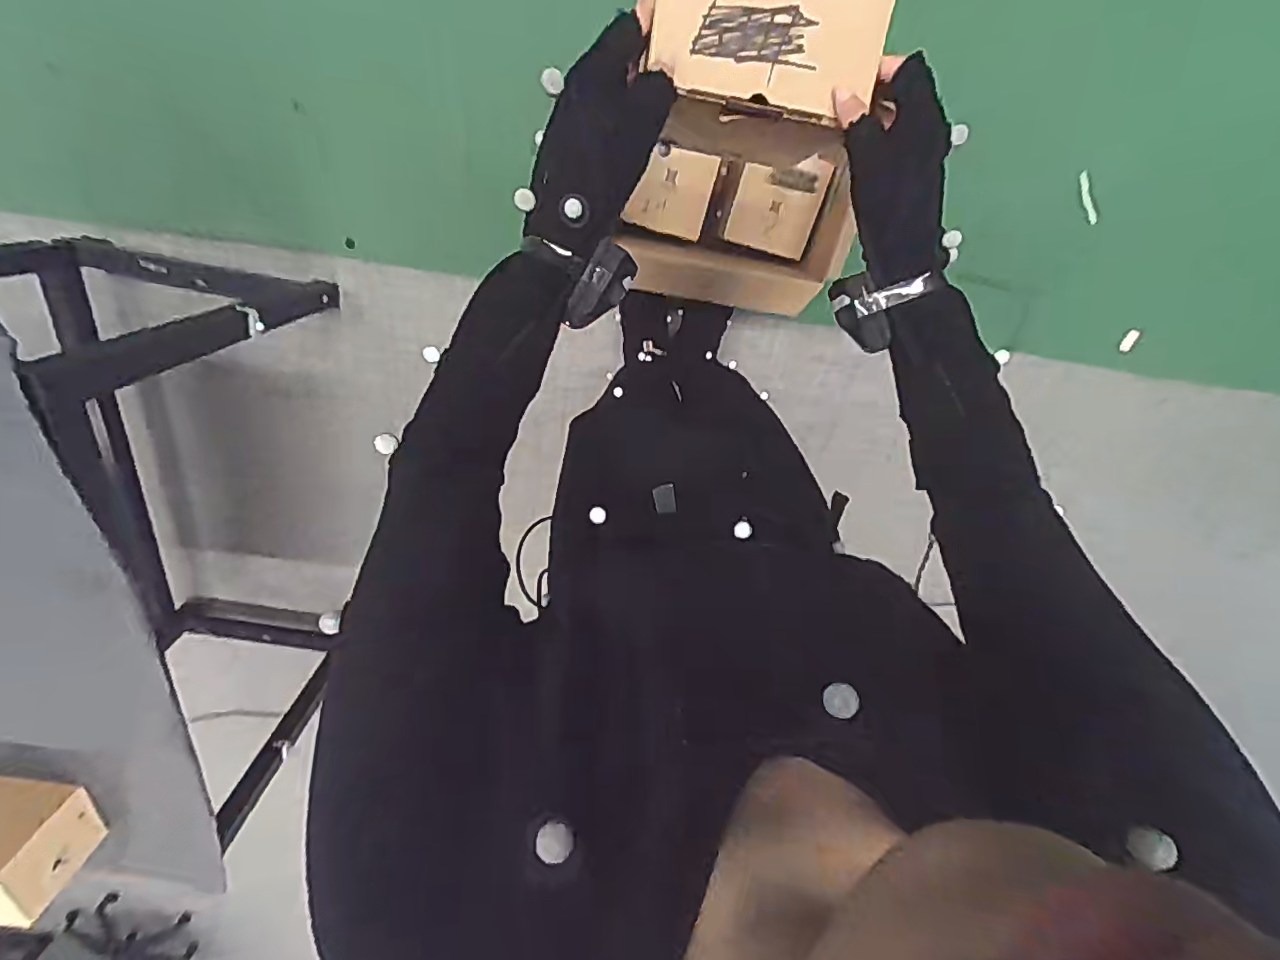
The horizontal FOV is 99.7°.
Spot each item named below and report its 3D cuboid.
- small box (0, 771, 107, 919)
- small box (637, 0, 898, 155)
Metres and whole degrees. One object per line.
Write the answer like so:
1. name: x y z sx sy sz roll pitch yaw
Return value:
1. small box: -1.159 0.673 1.006 0.179 0.176 0.168 8 118 -2
2. small box: 0.091 -0.375 0.422 0.168 0.176 0.179 7 110 -7
